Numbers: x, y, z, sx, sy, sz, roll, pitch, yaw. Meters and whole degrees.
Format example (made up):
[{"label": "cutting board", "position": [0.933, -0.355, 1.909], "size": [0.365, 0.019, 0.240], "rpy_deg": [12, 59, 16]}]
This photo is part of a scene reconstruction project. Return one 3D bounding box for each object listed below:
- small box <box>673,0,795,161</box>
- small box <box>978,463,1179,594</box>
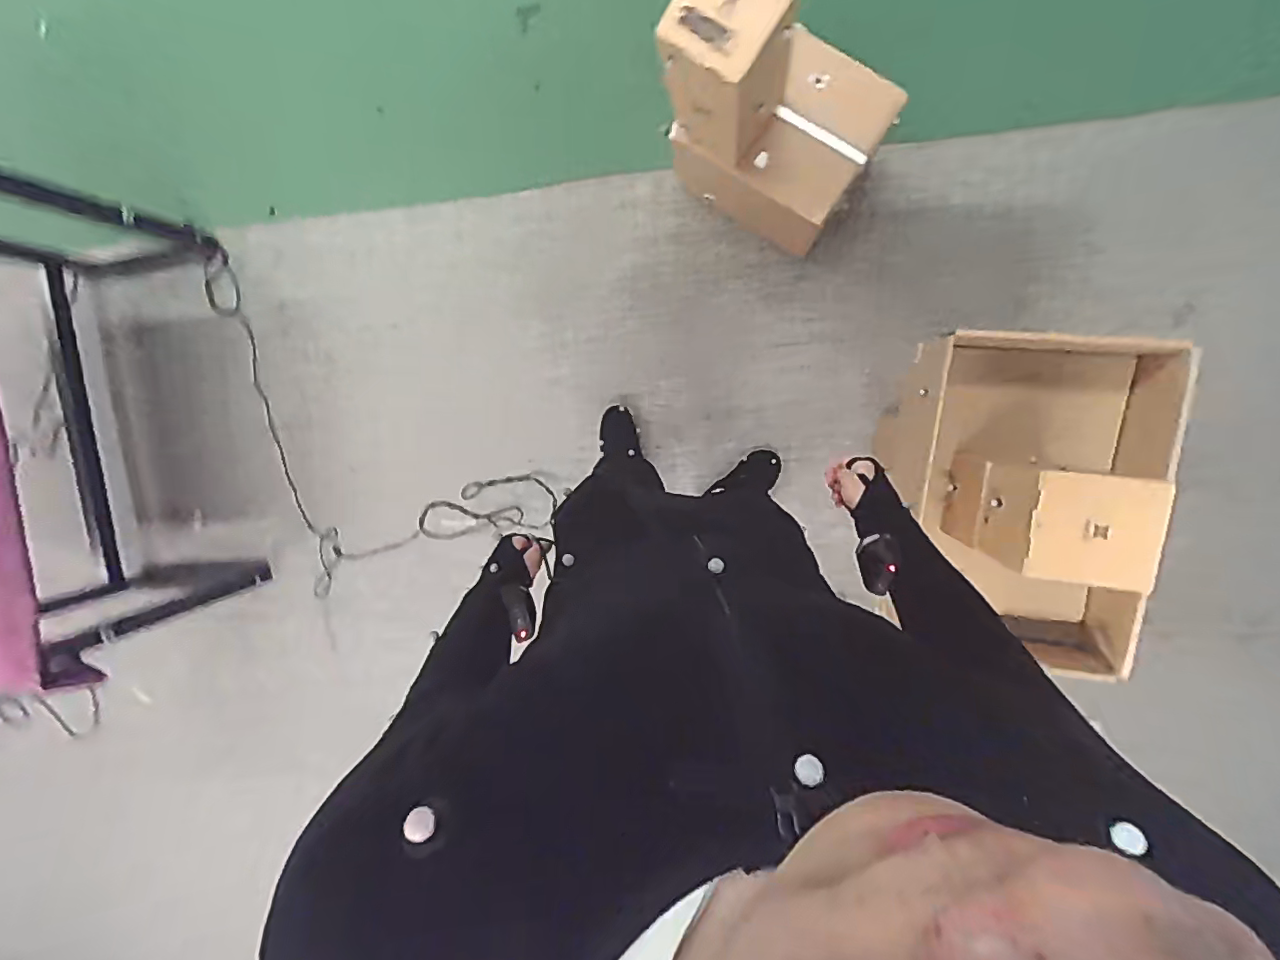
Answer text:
[{"label": "small box", "position": [0.190, -0.796, 1.097], "size": [0.168, 0.176, 0.179], "rpy_deg": [37, 102, 2]}, {"label": "small box", "position": [0.684, 0.067, 0.867], "size": [0.179, 0.176, 0.168], "rpy_deg": [7, 98, 9]}]
